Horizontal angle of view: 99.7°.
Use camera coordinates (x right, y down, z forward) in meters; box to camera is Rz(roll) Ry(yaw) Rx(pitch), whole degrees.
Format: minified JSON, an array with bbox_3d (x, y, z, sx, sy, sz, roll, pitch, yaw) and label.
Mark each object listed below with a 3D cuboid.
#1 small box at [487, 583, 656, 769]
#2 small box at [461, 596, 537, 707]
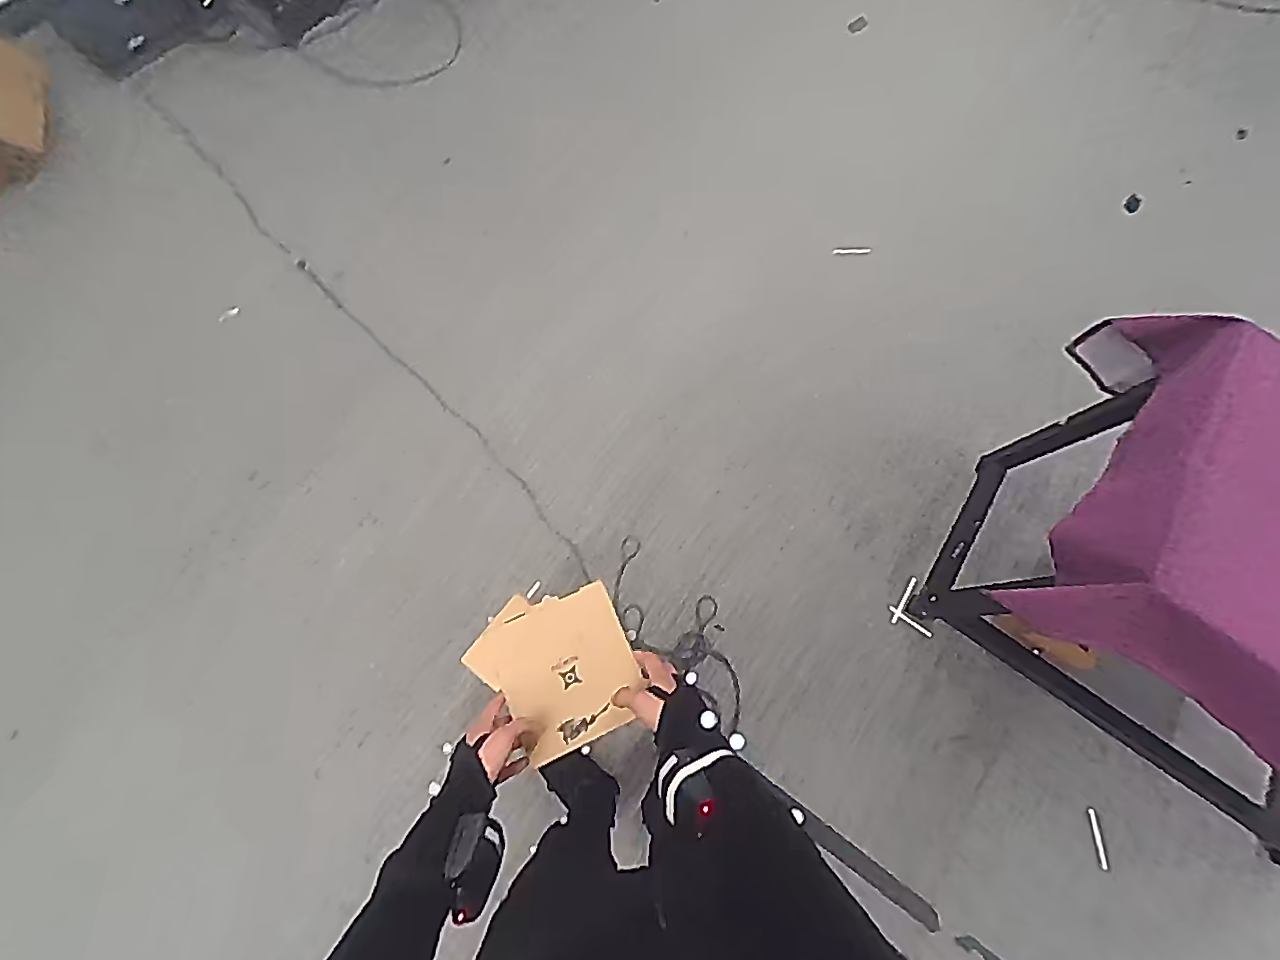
[{"bbox_3d":[-0.092,0.261,0.748,0.168,0.176,0.179,-22,77,-9],"label":"small box"},{"bbox_3d":[-0.255,0.380,1.186,0.168,0.176,0.179,38,74,7],"label":"small box"}]
